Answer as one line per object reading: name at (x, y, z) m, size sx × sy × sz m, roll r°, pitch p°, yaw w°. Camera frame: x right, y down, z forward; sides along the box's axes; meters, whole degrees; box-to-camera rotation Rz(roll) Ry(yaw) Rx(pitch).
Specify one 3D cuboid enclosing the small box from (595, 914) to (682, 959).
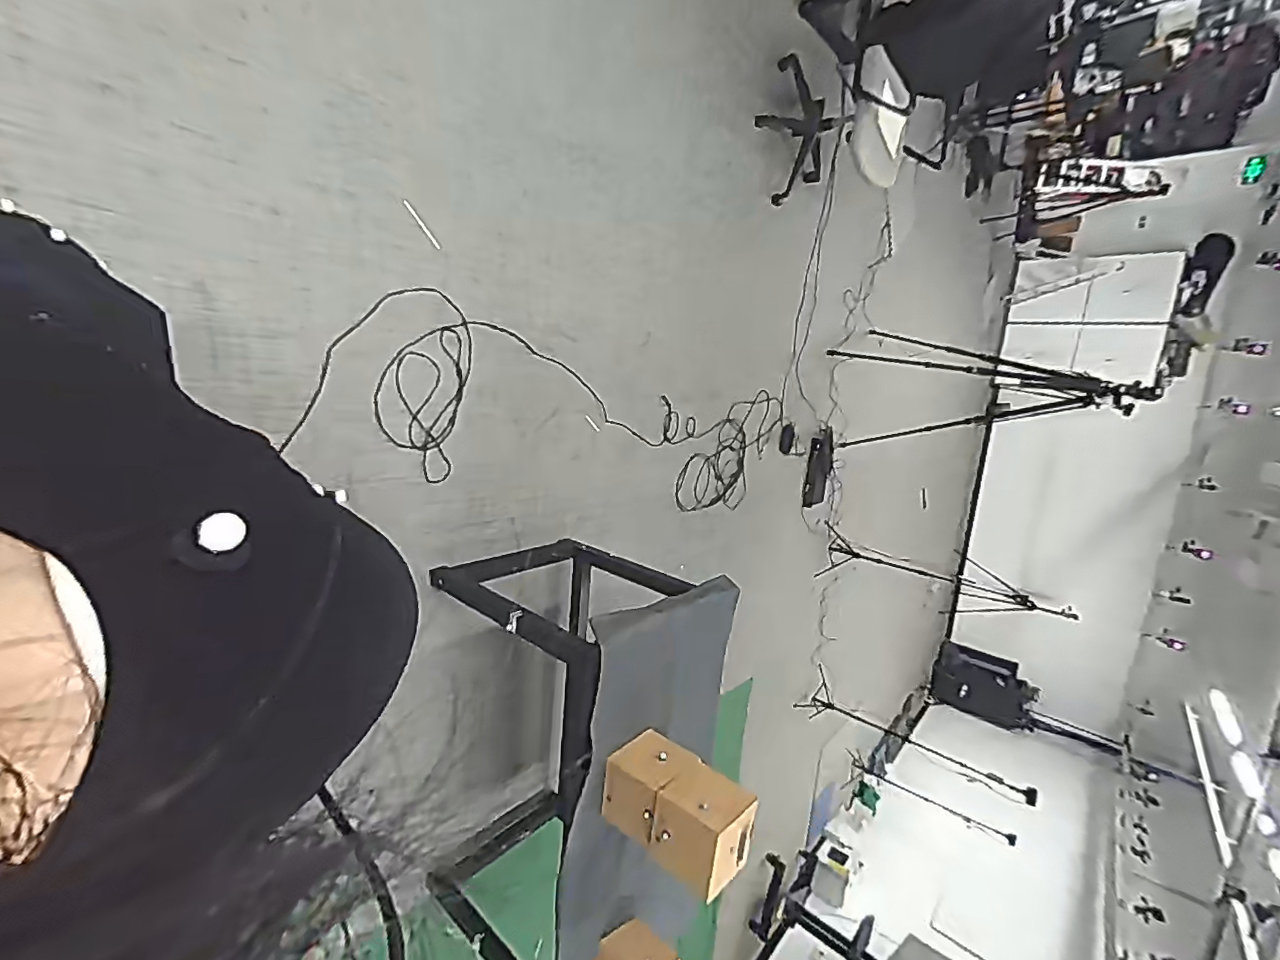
small box at (-0.020, 1.332, 1.457) m, size 0.179 × 0.176 × 0.168 m, roll 25°, pitch 82°, yaw -52°

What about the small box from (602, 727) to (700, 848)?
small box at (0.028, 0.759, 1.359) m, size 0.179 × 0.176 × 0.168 m, roll -8°, pitch 106°, yaw -50°
